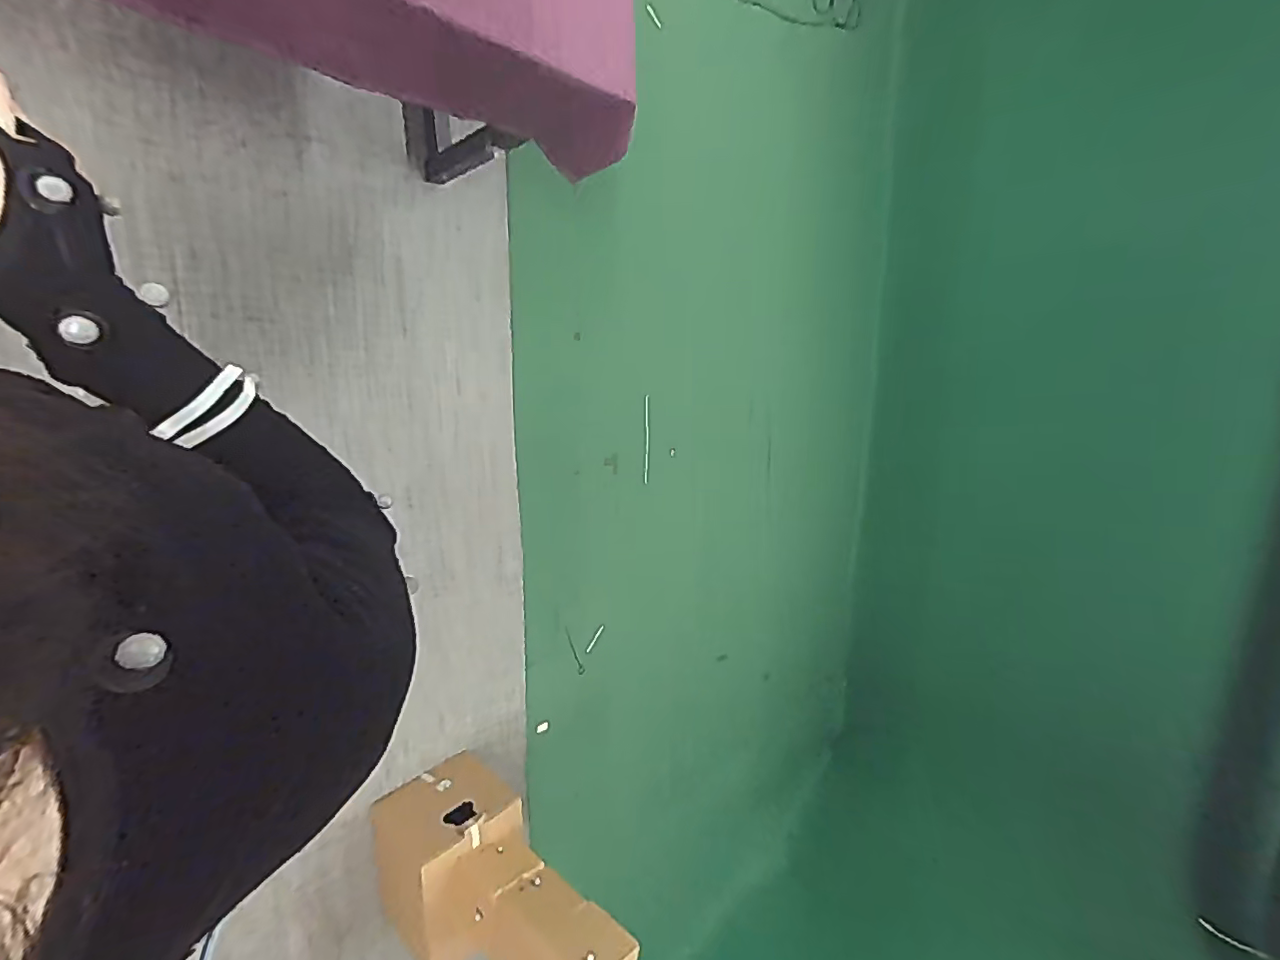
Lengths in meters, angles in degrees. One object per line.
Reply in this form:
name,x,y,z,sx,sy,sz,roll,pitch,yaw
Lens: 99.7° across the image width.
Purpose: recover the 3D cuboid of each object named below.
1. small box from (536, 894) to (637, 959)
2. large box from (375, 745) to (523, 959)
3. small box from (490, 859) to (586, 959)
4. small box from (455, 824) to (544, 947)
small box,-0.136,1.147,1.283,0.179,0.176,0.168,9,91,-50
large box,-0.573,1.119,1.650,0.320,0.320,0.408,-13,109,-46
small box,-0.264,1.130,1.384,0.168,0.176,0.179,8,91,-50
small box,-0.389,1.100,1.485,0.168,0.176,0.179,2,96,-49
